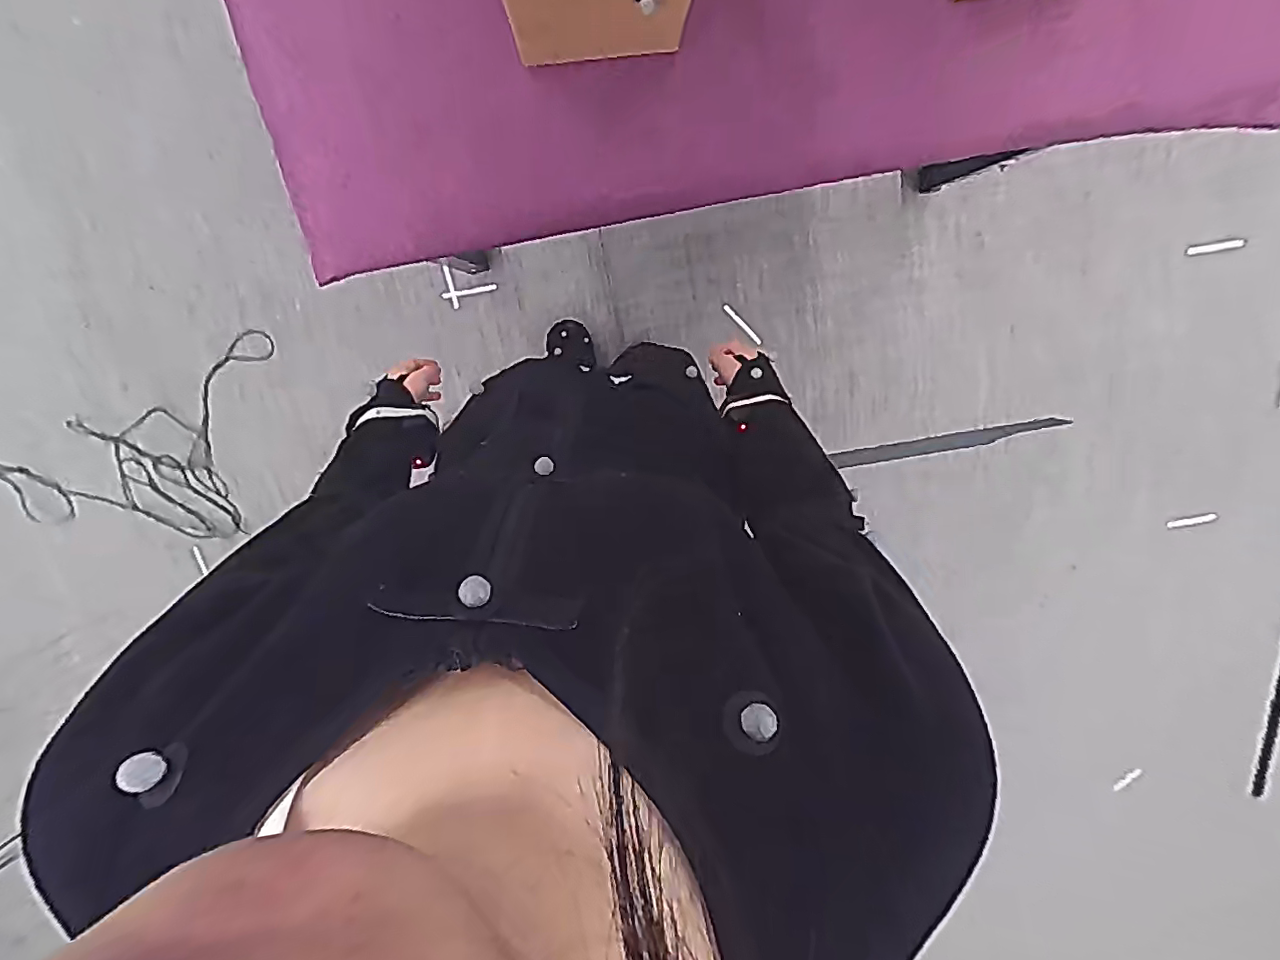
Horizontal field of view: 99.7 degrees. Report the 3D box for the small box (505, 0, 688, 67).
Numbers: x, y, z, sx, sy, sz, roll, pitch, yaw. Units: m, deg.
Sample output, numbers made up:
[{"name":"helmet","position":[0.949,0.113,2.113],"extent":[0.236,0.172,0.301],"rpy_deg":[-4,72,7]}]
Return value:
[{"name":"small box","position":[-0.046,-0.525,0.508],"extent":[0.179,0.176,0.168],"rpy_deg":[-7,106,-1]}]
